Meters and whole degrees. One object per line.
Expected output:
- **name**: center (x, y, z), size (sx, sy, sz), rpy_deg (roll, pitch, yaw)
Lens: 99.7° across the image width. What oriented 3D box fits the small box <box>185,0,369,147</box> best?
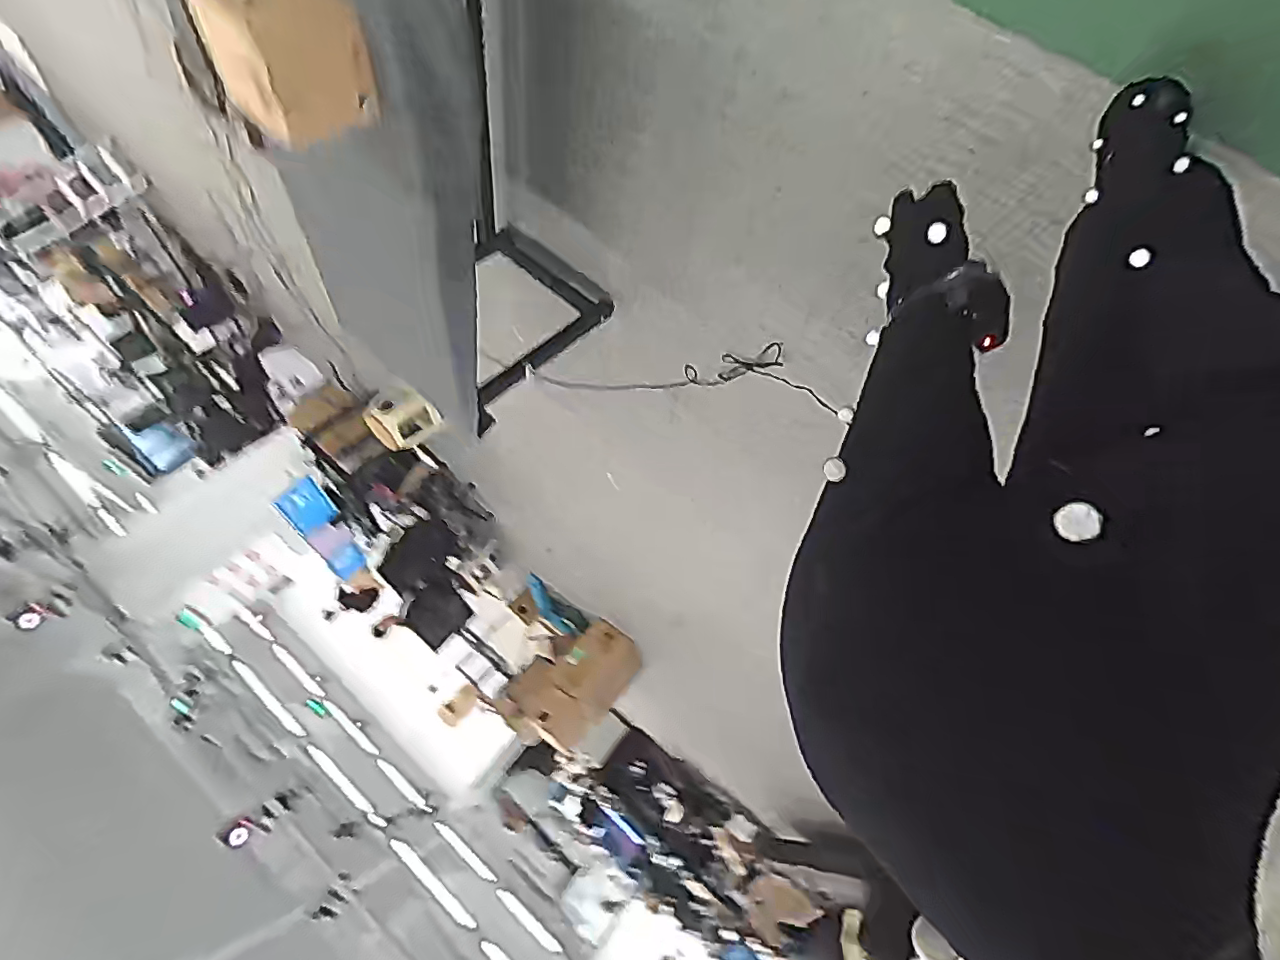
- **small box**: center (-0.554, -0.673, 0.848), size (0.179, 0.176, 0.168), rpy_deg (41, 151, 11)
